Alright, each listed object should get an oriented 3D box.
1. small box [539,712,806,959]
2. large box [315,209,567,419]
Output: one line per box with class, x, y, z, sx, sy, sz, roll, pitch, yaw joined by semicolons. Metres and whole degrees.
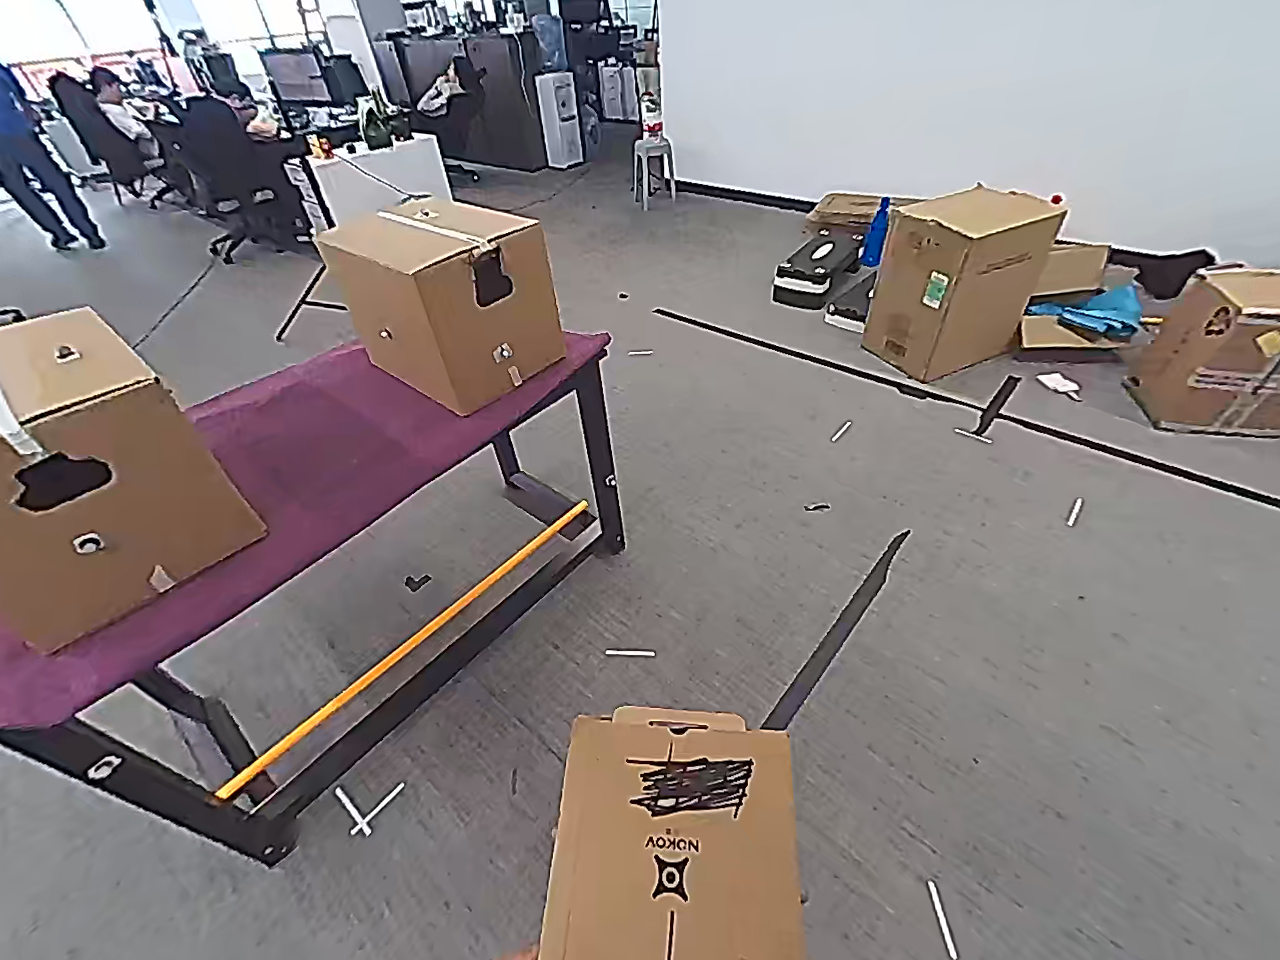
small box;0.029;0.303;0.426;0.168;0.176;0.179;1;52;7
large box;-0.431;-0.388;1.228;0.408;0.320;0.320;26;51;32
